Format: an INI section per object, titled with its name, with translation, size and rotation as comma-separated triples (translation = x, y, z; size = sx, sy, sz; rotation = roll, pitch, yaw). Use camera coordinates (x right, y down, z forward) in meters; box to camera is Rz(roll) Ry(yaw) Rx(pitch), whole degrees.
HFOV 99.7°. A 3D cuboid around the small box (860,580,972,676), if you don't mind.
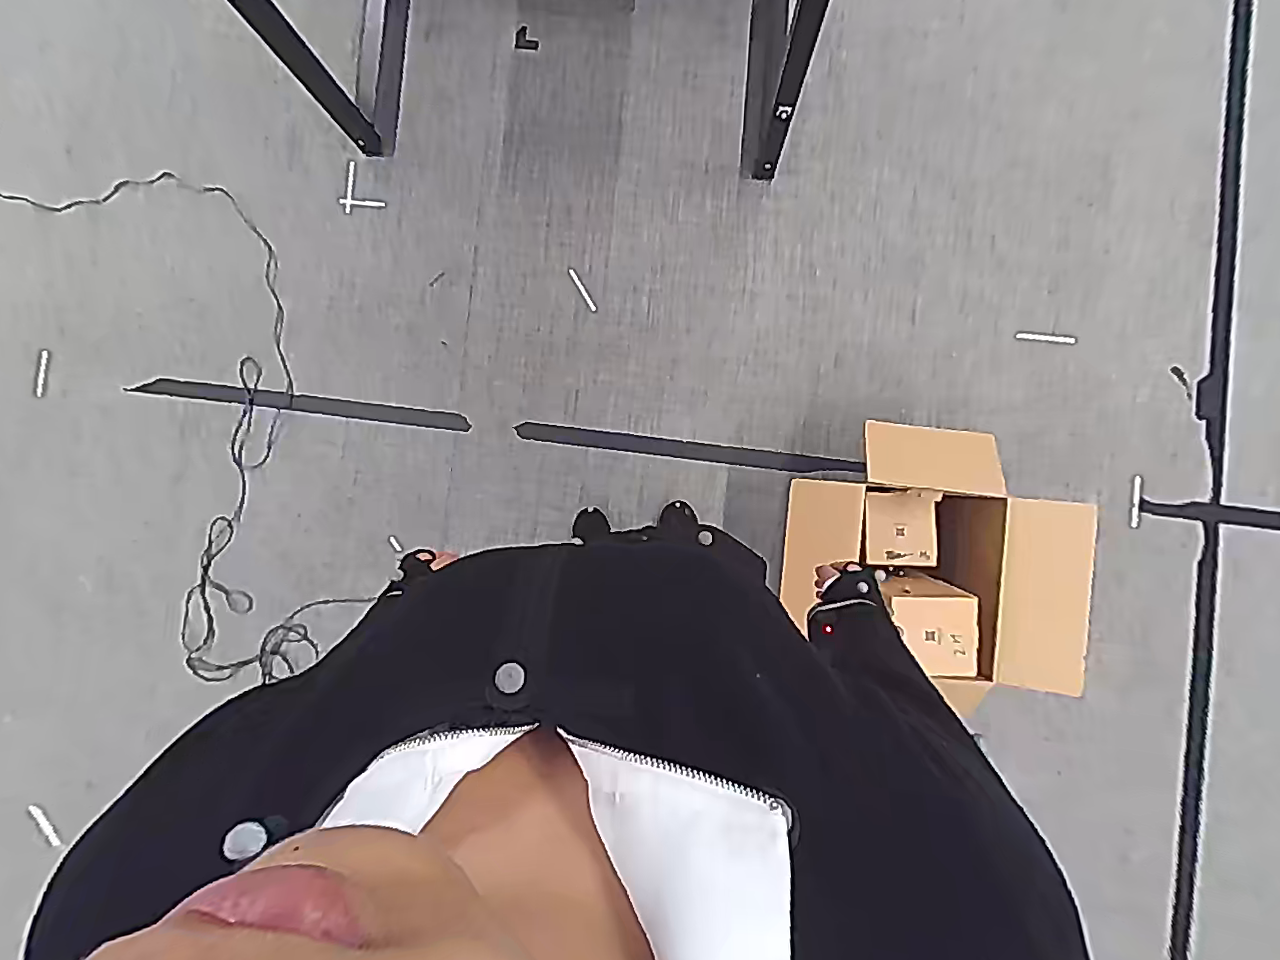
[small box]
translation = 0.602, 0.322, 1.199
size = 0.179, 0.176, 0.168
rotation = 0, 92, 3
